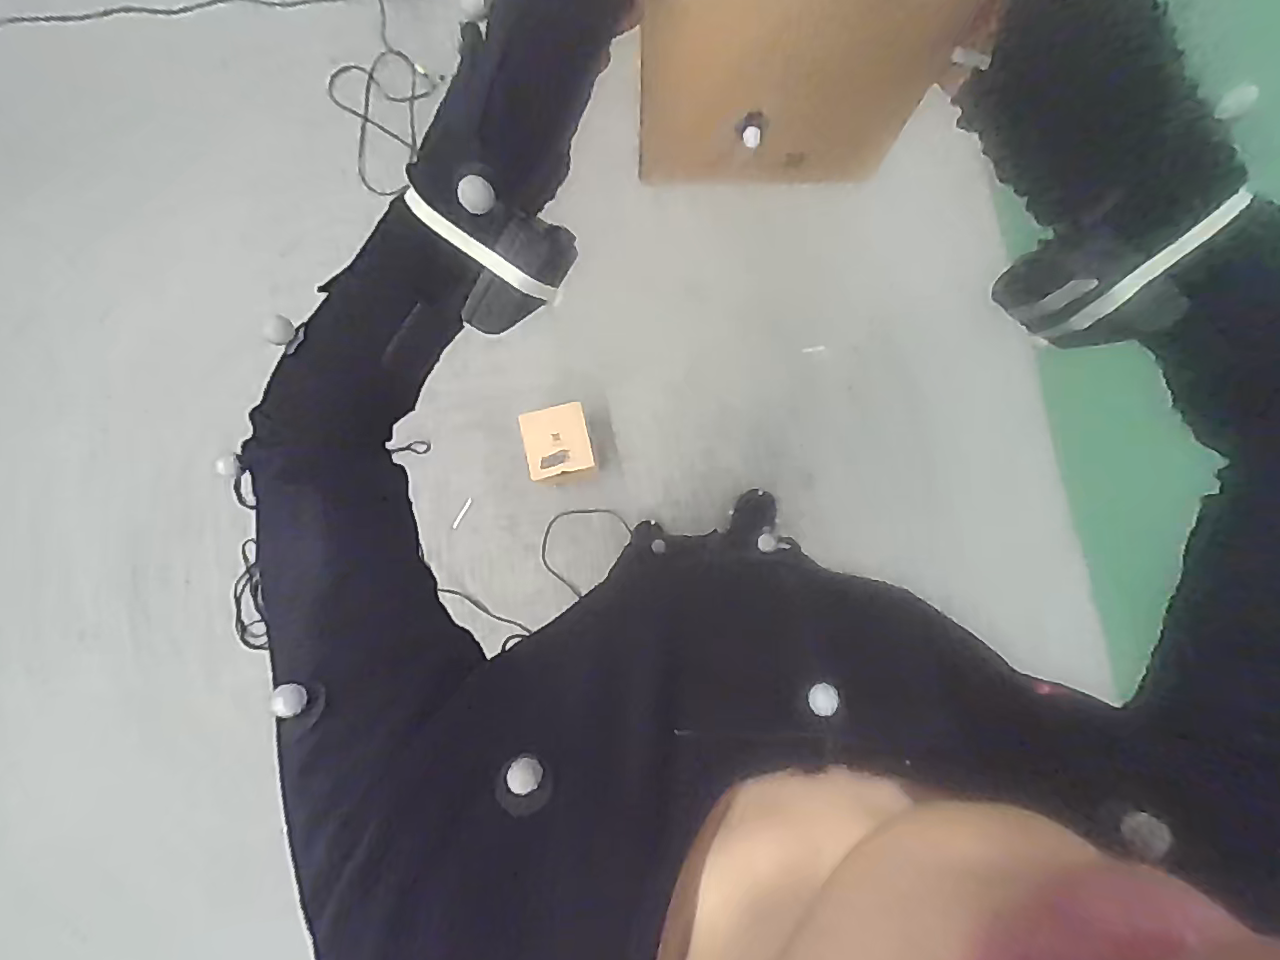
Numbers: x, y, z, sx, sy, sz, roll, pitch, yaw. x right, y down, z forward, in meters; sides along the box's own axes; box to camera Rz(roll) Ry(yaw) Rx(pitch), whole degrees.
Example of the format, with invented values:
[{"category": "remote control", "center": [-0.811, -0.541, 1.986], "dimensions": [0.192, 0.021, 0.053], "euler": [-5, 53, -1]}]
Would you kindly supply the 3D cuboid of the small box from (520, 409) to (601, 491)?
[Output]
[{"category": "small box", "center": [-0.203, -0.072, 1.432], "dimensions": [0.168, 0.176, 0.179], "euler": [-13, 84, -1]}]
